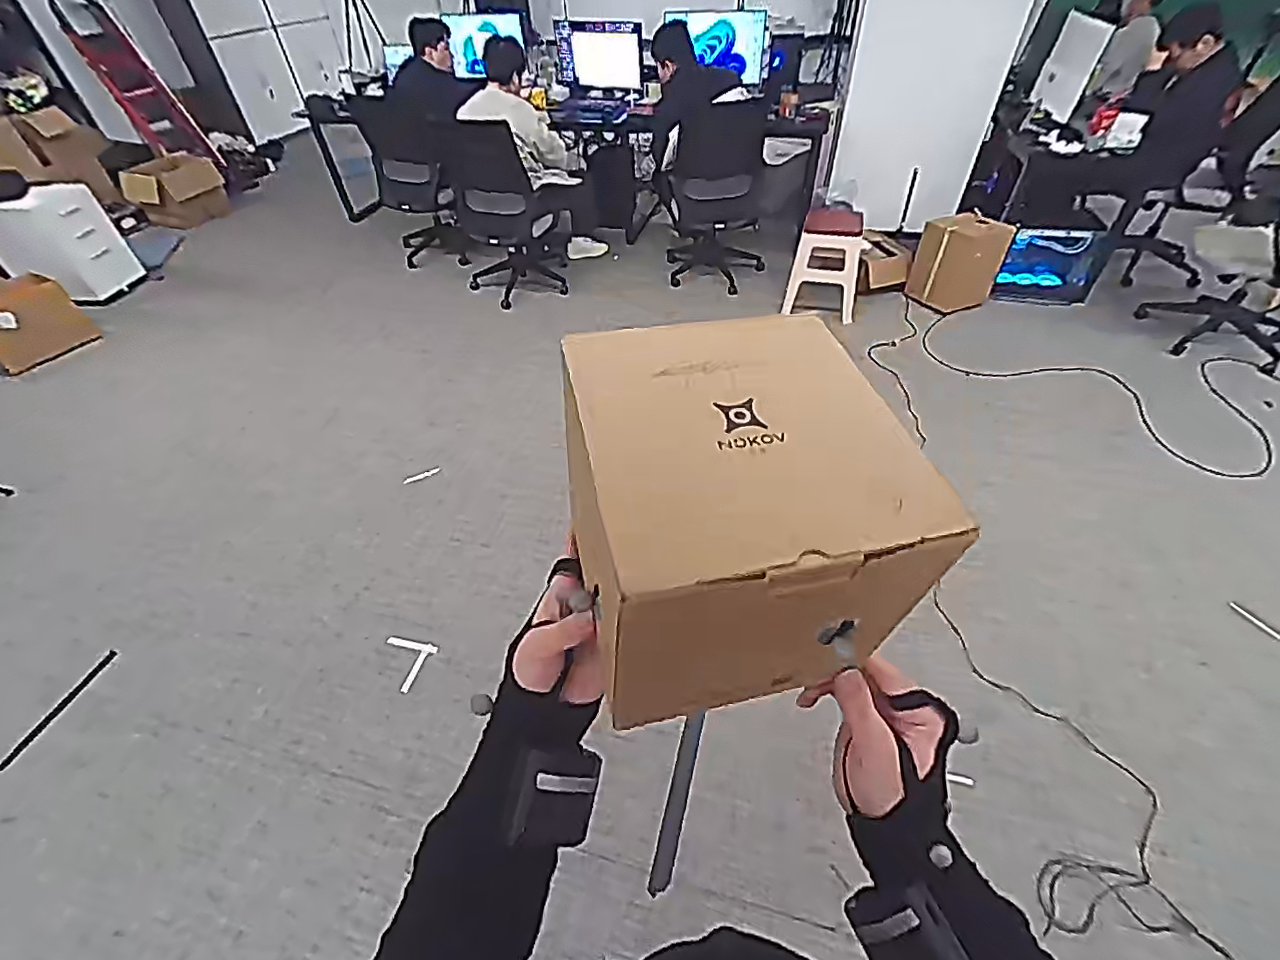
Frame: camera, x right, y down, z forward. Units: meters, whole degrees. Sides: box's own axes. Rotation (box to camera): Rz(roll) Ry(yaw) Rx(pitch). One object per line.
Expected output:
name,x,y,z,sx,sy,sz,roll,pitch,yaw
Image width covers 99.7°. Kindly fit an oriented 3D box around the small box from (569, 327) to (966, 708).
small box,0.050,0.027,0.347,0.168,0.176,0.179,-8,49,-12
